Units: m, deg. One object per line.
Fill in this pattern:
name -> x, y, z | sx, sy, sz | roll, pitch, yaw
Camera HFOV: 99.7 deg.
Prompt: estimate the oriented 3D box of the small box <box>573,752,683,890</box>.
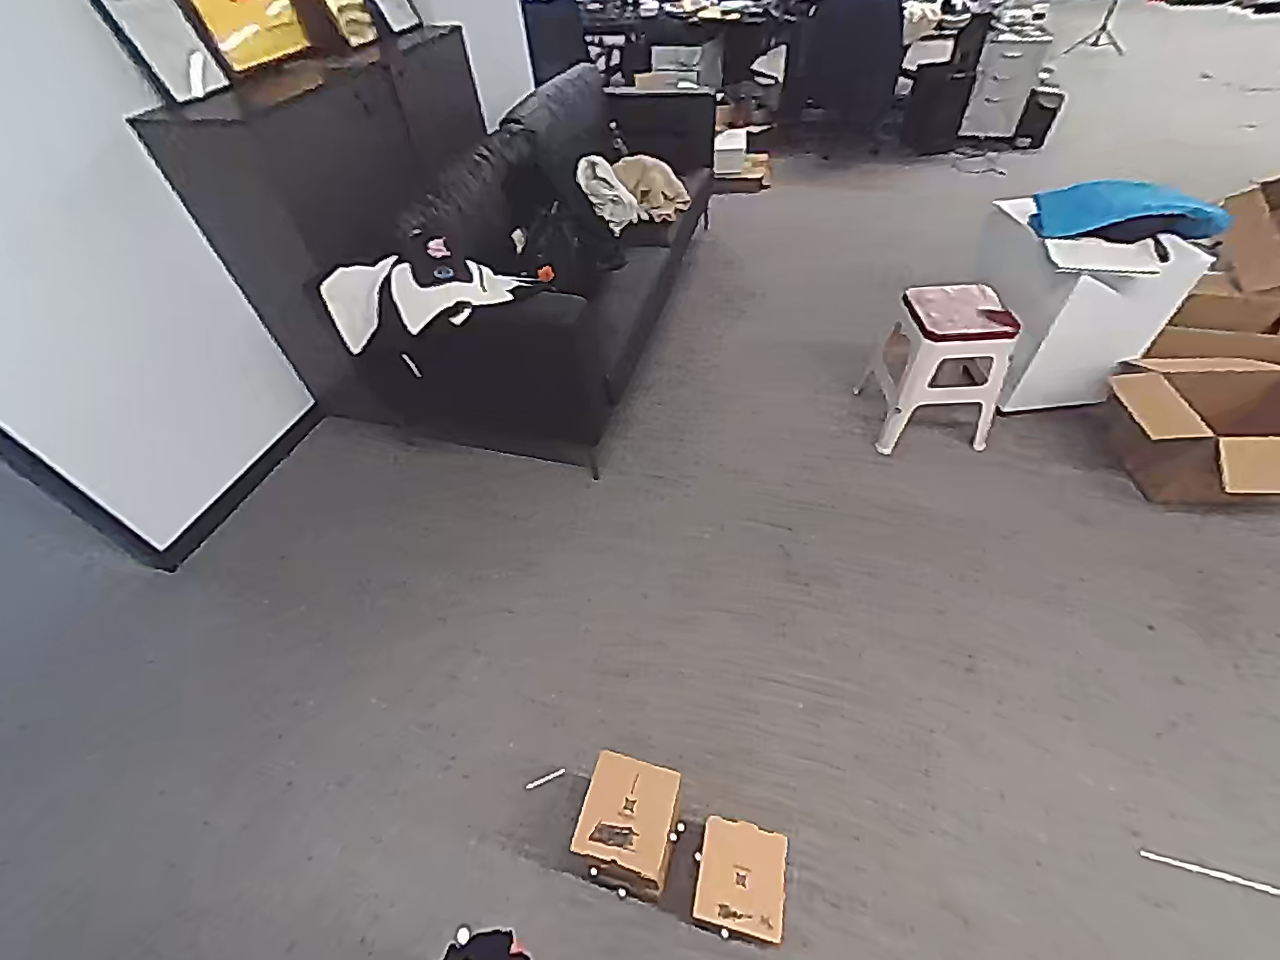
small box -> -0.012, 0.664, 1.050 | 0.168, 0.176, 0.179 | 9, 49, 14
